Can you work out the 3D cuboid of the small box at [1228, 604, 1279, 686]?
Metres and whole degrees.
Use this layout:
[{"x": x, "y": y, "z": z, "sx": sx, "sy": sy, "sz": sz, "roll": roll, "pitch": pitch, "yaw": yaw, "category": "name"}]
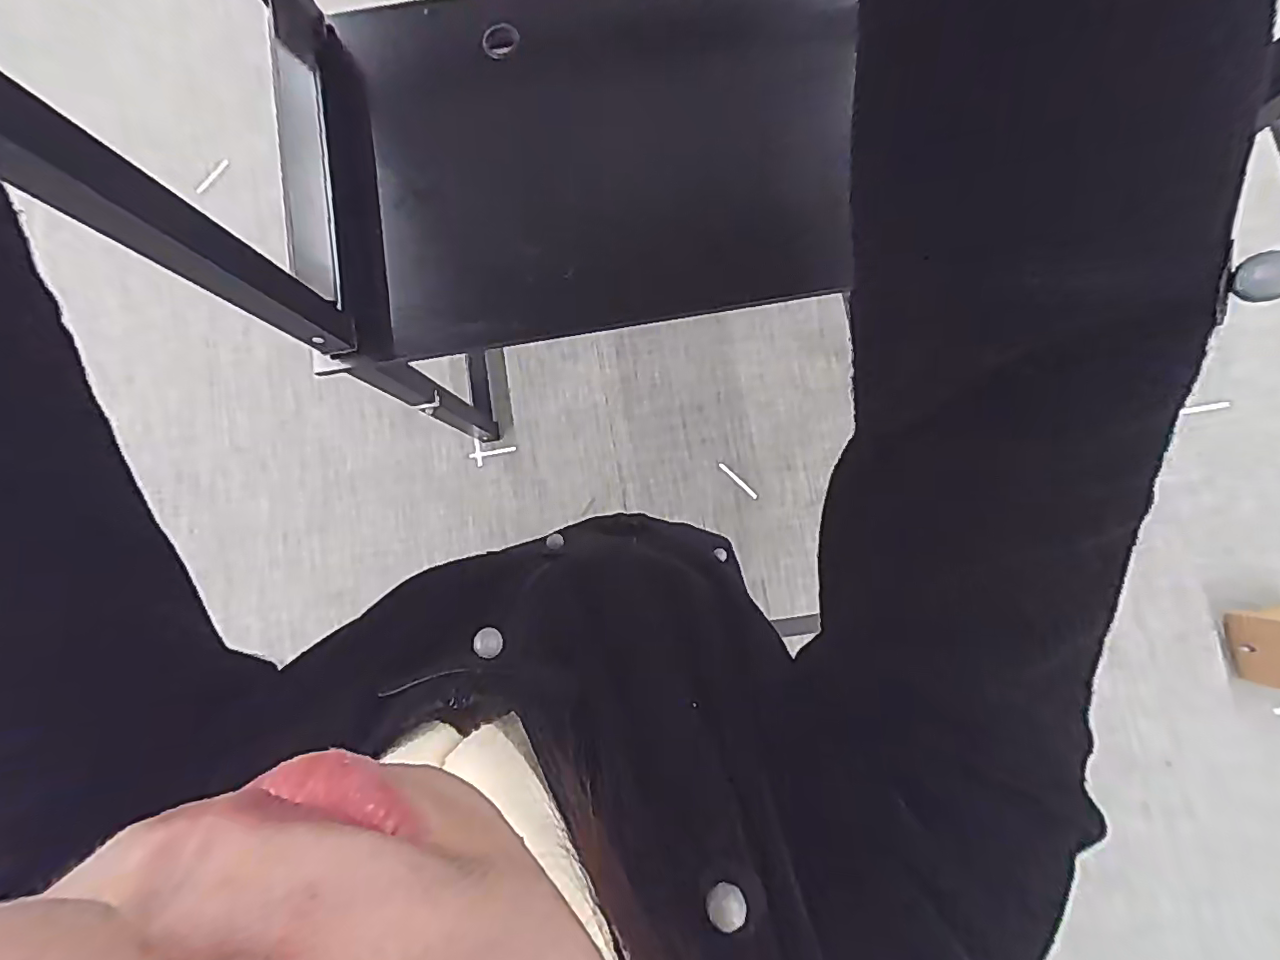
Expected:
[{"x": 1.618, "y": 0.410, "z": 1.324, "sx": 0.168, "sy": 0.176, "sz": 0.179, "roll": -7, "pitch": 85, "yaw": 2, "category": "small box"}]
